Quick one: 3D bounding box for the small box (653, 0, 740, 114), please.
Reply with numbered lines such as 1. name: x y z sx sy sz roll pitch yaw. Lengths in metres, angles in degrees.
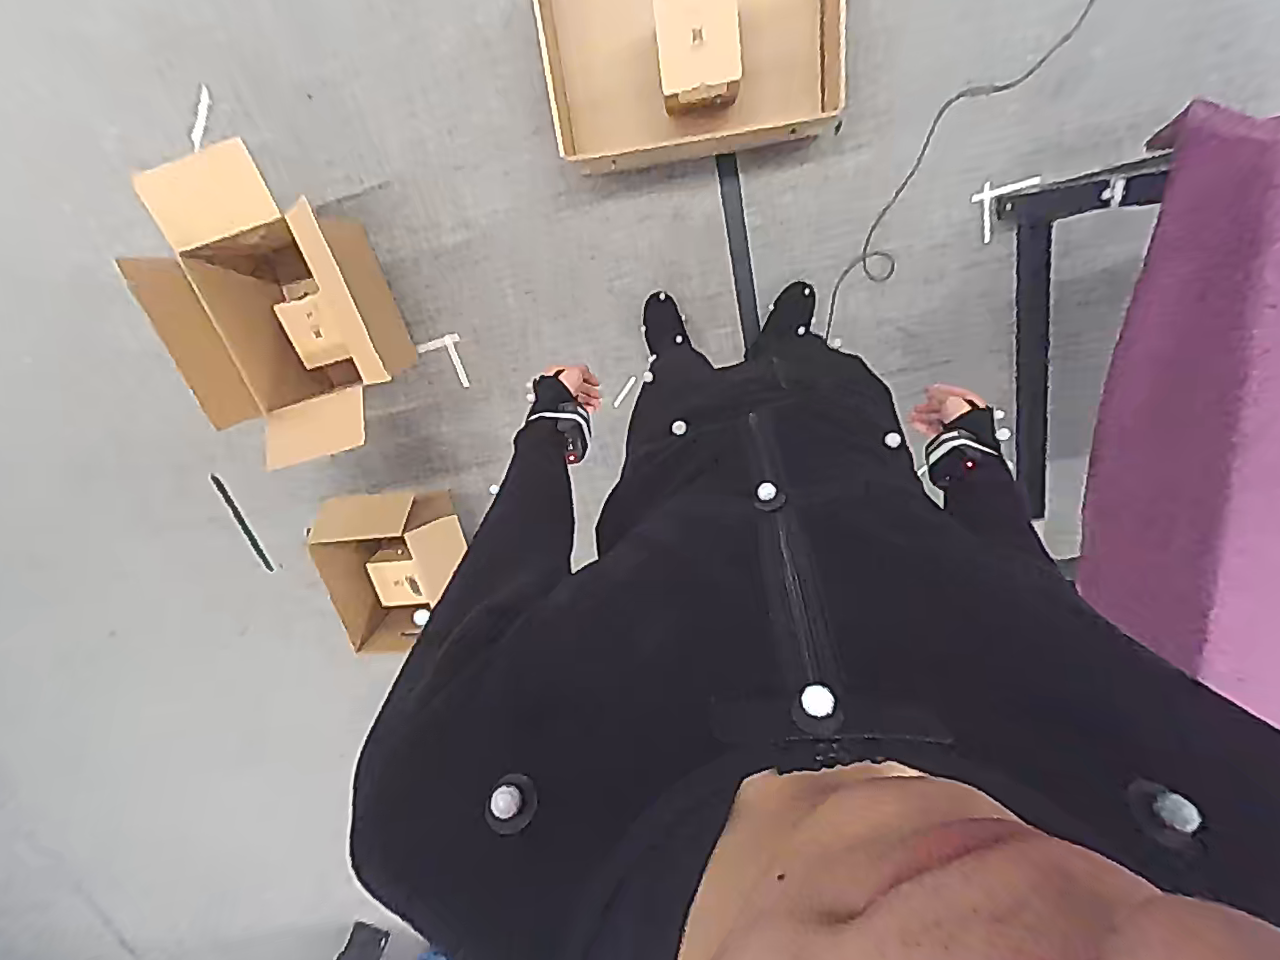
1. small box: 0.124 -0.909 1.160 0.168 0.176 0.179 -6 112 8
